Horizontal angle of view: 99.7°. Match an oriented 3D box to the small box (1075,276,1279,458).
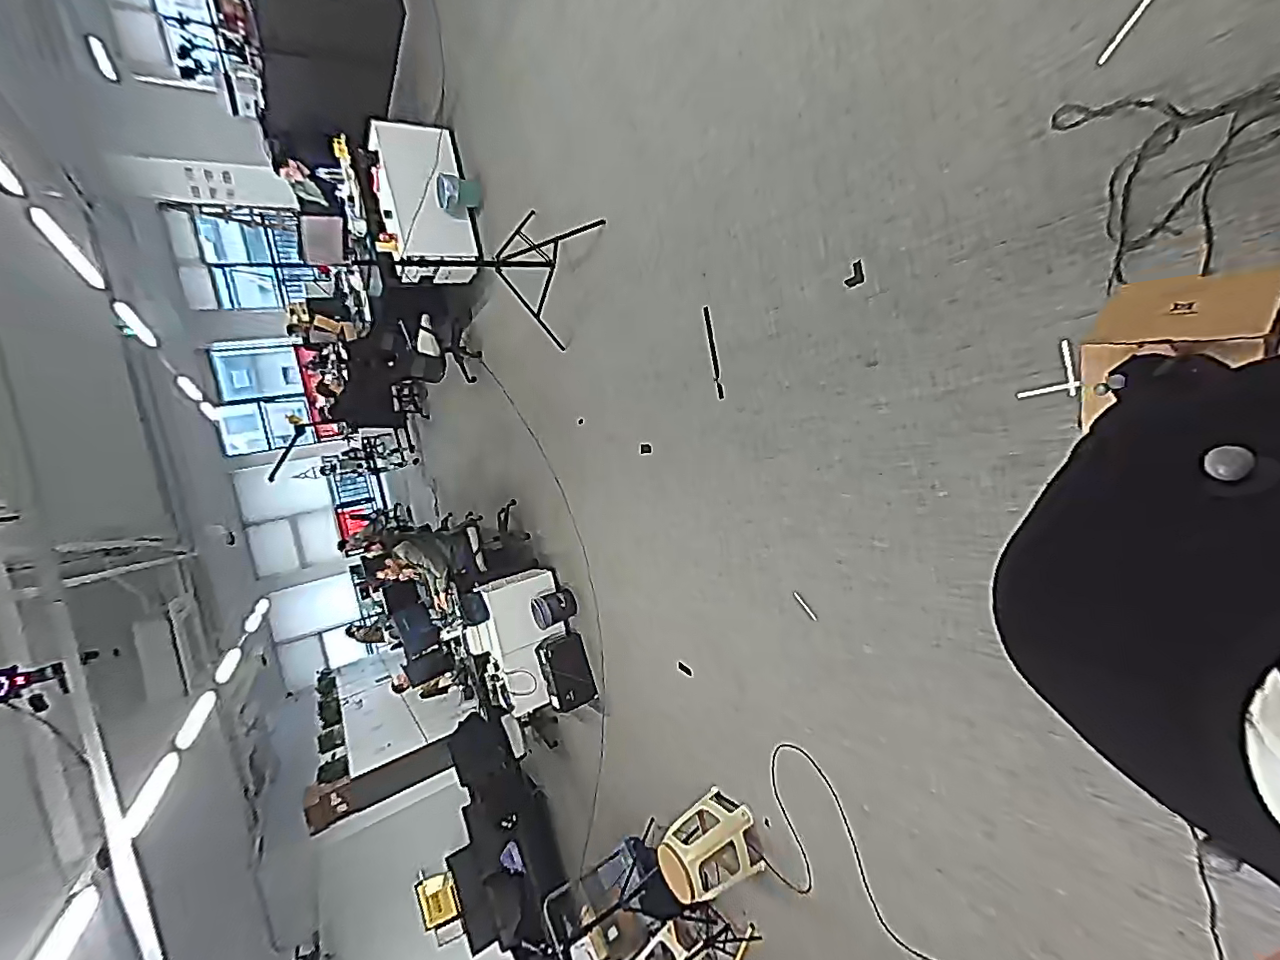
[{"bbox_3d":[0.719,-0.148,0.729,0.168,0.179,0.176,14,137,50],"label":"small box"}]
